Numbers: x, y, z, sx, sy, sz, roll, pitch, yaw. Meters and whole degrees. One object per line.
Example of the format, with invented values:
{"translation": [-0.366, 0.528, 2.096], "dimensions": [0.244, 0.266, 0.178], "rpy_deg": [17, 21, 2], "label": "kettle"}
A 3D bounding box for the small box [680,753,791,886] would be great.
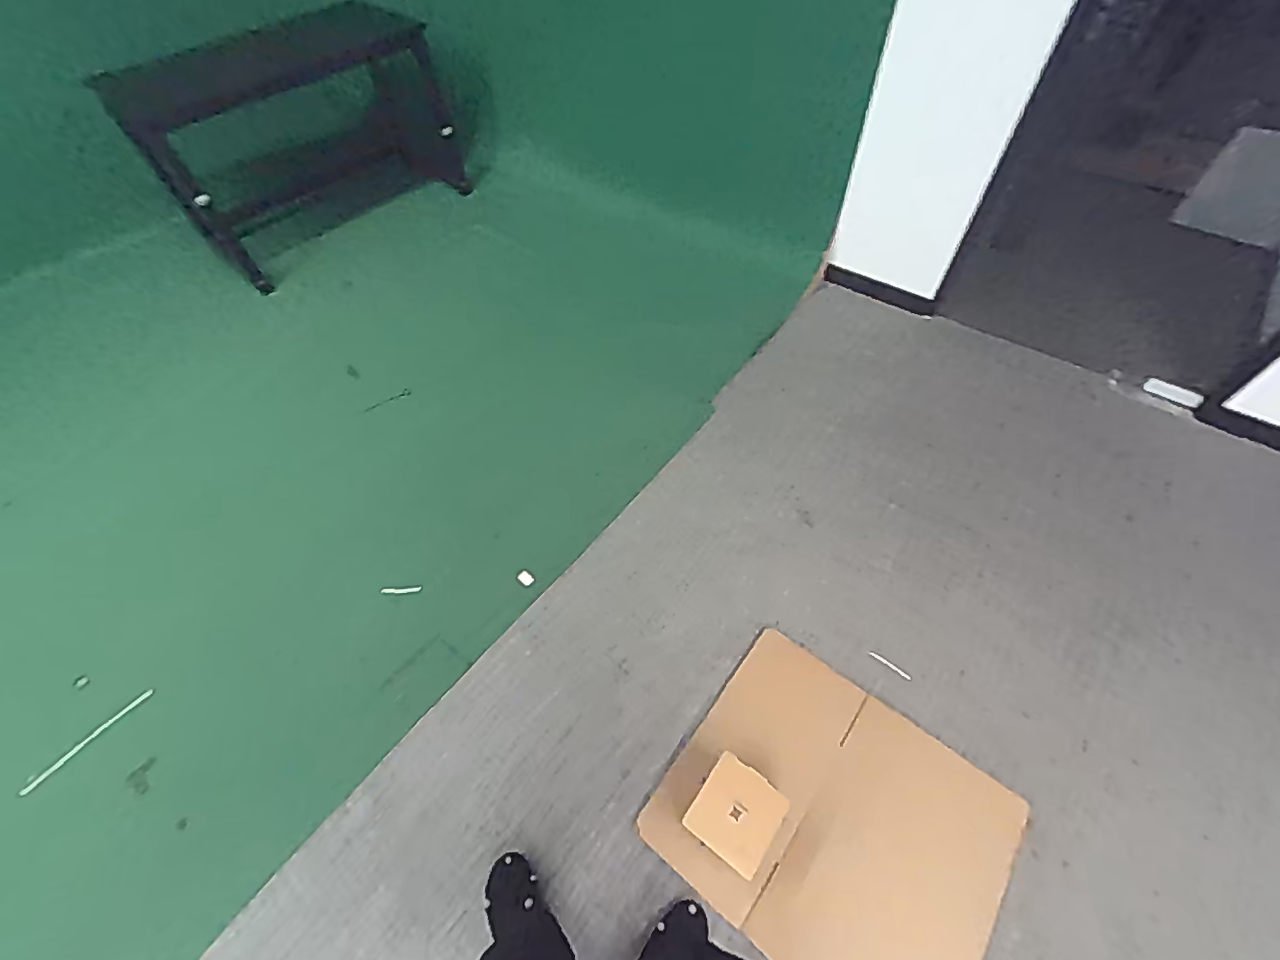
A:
{"translation": [0.202, 0.733, 1.168], "dimensions": [0.168, 0.176, 0.179], "rpy_deg": [31, 61, 22], "label": "small box"}
